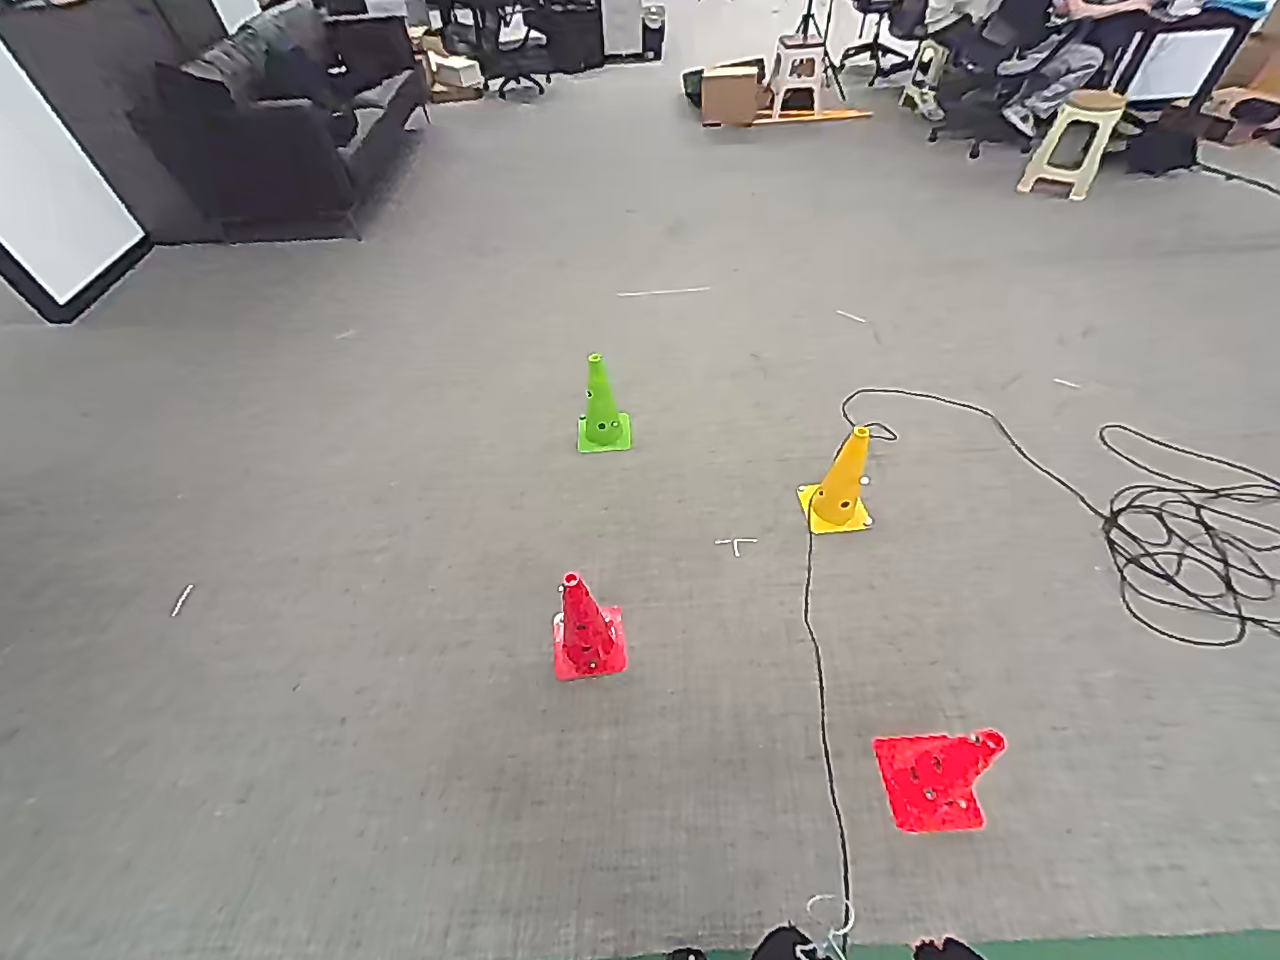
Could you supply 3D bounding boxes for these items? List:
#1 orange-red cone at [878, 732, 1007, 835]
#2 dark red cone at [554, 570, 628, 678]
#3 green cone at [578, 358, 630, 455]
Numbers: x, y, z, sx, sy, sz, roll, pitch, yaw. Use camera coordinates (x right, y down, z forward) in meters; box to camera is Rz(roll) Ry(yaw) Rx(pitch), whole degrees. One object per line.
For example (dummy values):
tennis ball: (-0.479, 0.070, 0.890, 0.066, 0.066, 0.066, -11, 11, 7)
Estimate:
orange-red cone: (0.671, 0.603, 1.141, 0.198, 0.360, 0.199, -2, 48, 0)
dark red cone: (-0.148, 0.344, 1.386, 0.202, 0.394, 0.201, -8, 51, -3)
green cone: (-0.144, -0.282, 1.956, 0.202, 0.368, 0.200, -4, 50, -1)
